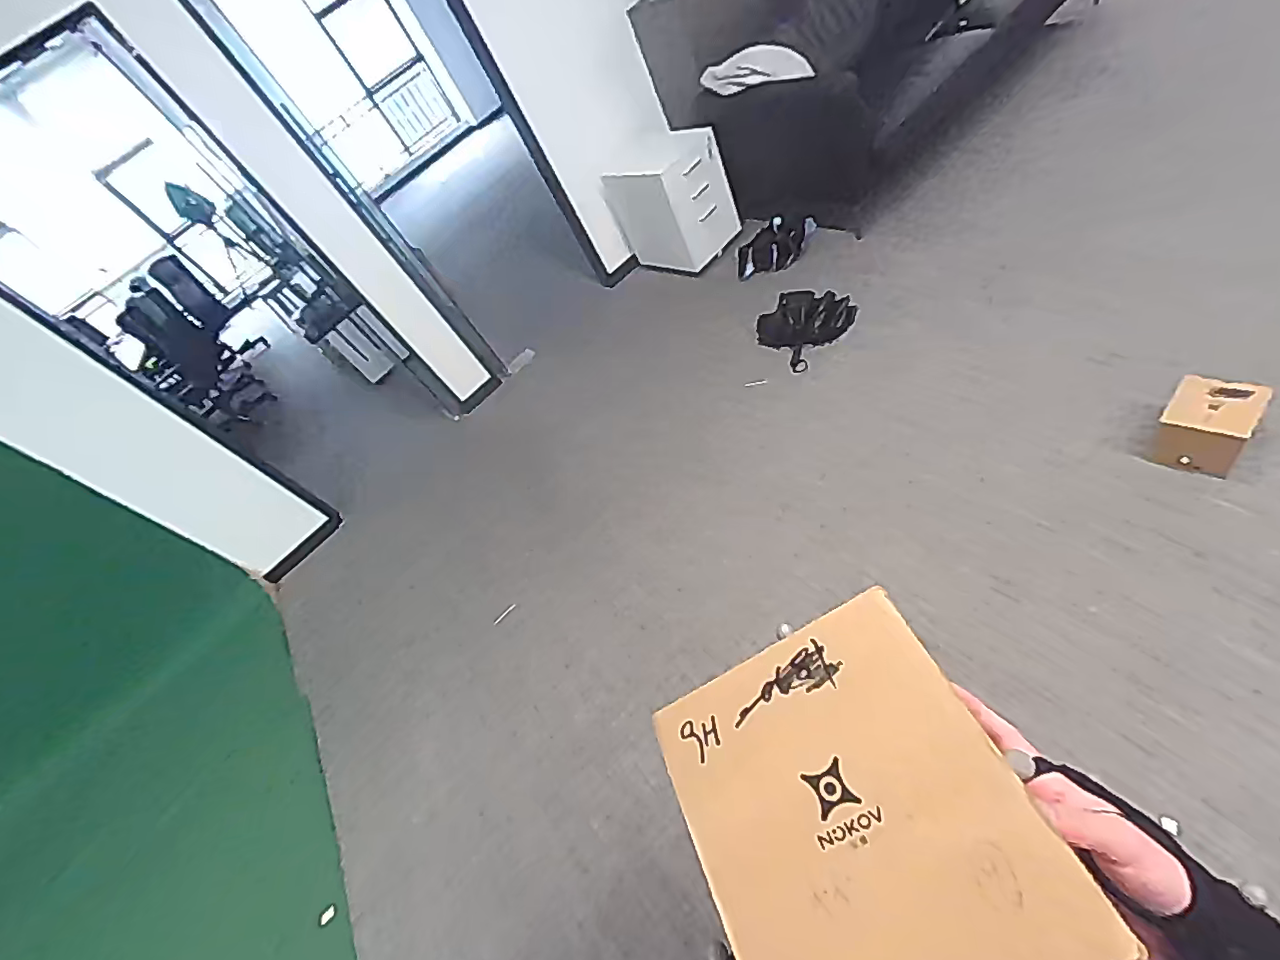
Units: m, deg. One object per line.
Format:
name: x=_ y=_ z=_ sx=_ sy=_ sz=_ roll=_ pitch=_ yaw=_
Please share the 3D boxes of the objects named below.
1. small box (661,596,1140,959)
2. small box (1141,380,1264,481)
small box: x=0.146 y=0.203 z=0.344 sx=0.168 sy=0.176 sz=0.179 roll=-35 pitch=53 yaw=12
small box: x=1.456 y=-0.129 z=1.411 sx=0.168 sy=0.176 sz=0.179 roll=27 pitch=71 yaw=44
